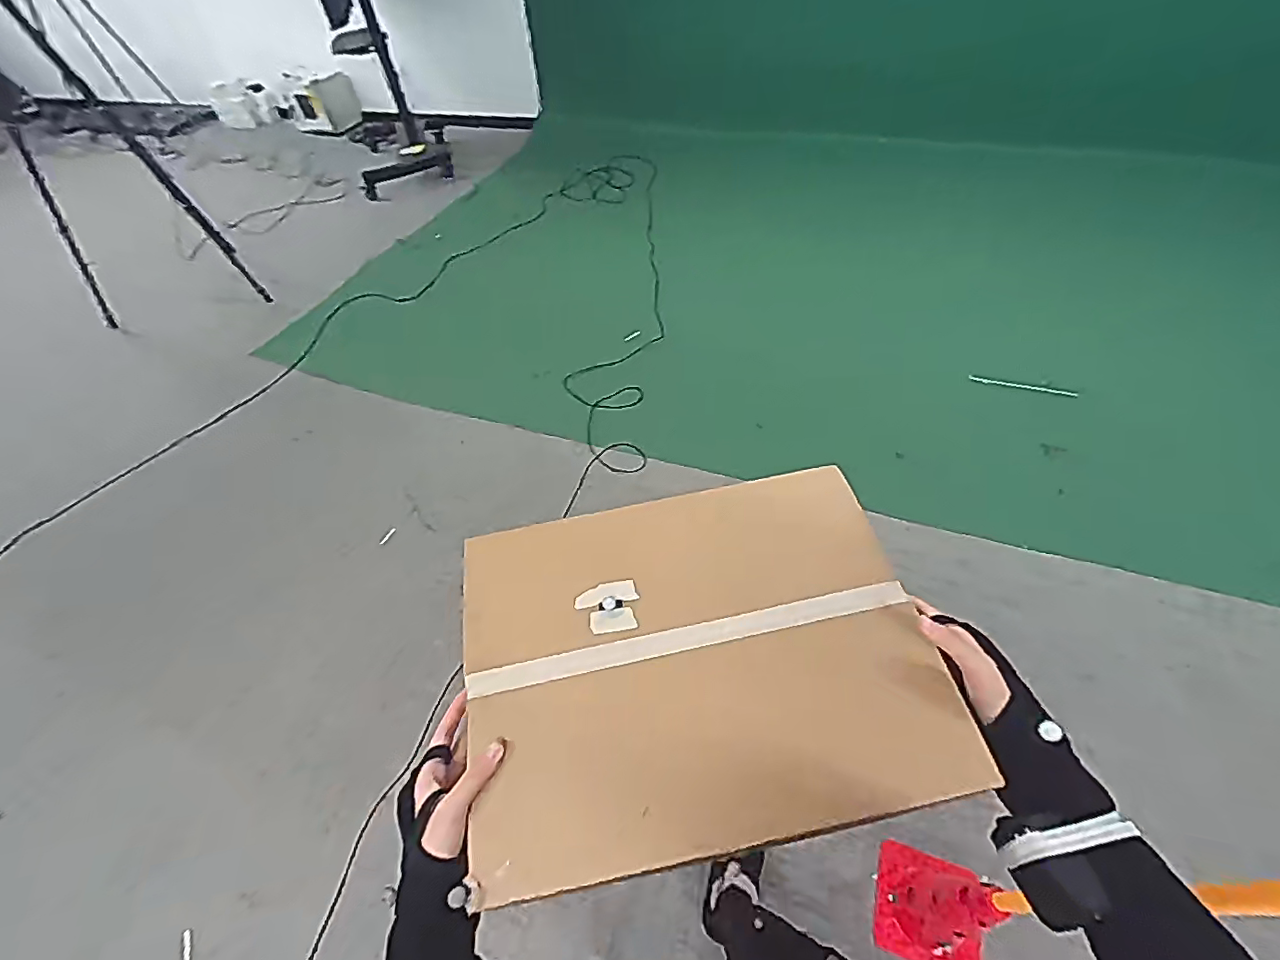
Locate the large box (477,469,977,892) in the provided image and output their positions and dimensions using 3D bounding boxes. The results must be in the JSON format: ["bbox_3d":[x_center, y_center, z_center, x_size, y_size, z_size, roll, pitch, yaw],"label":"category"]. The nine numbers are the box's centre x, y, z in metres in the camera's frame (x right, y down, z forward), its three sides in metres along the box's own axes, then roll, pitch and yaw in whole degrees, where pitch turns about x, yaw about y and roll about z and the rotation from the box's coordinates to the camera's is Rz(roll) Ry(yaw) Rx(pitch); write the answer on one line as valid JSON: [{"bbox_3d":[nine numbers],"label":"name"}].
[{"bbox_3d":[0.061,0.231,0.624,0.408,0.320,0.320,-11,55,-2],"label":"large box"}]
